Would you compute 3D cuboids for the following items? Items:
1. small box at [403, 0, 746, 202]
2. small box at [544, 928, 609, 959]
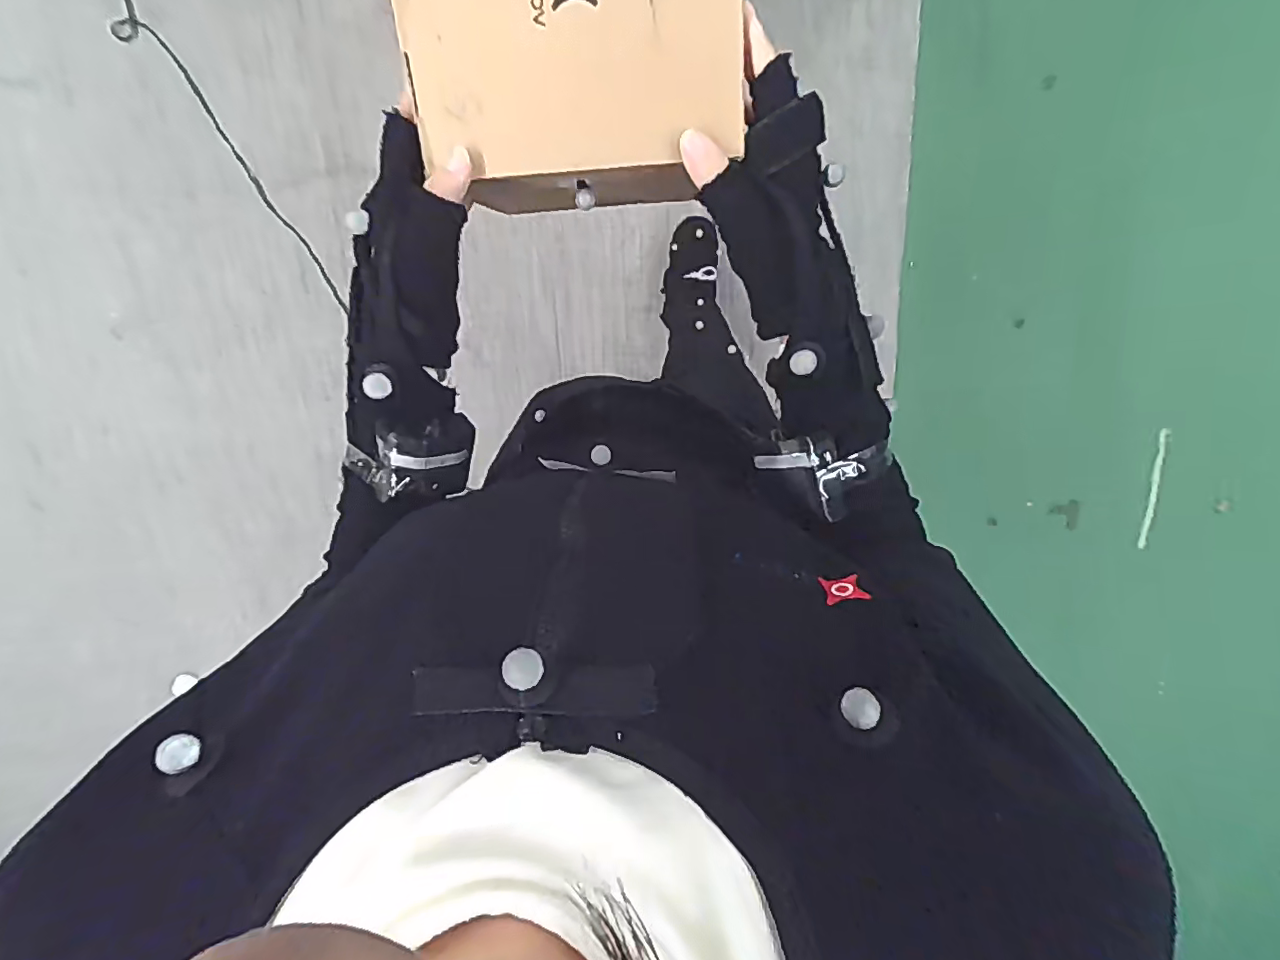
[{"bbox_3d":[-0.033,-0.280,0.342,0.179,0.176,0.168,-4,112,2],"label":"small box"},{"bbox_3d":[-0.170,1.319,1.411,0.168,0.176,0.179,1,104,2],"label":"small box"}]
